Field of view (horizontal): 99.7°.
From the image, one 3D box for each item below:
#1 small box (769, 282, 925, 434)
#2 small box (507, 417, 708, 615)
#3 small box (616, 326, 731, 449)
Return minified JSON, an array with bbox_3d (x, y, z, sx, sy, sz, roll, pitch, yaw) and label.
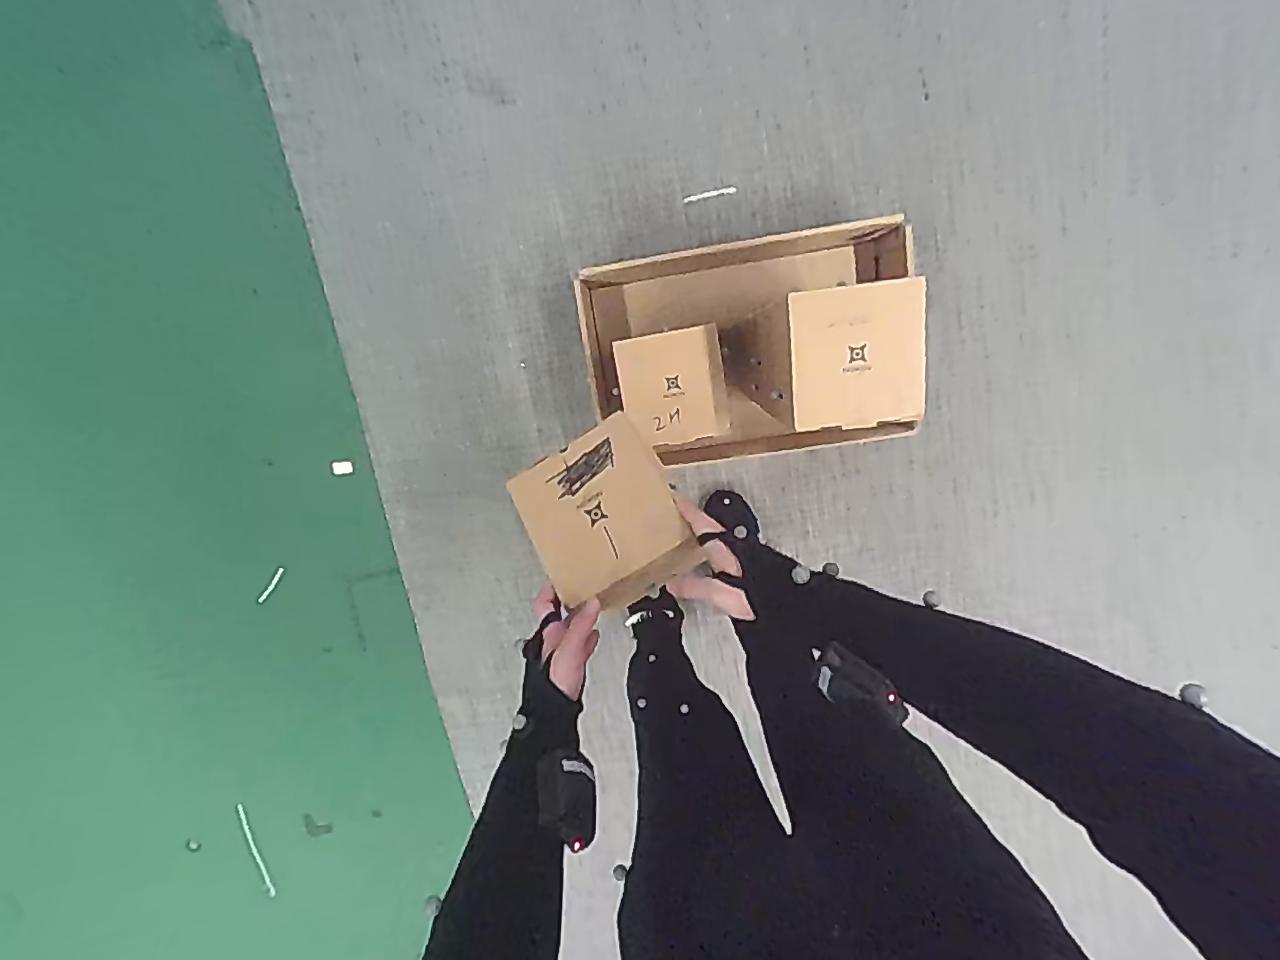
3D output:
[{"bbox_3d":[0.277,-0.167,0.754,0.168,0.176,0.179,-5,102,5],"label":"small box"},{"bbox_3d":[-0.033,0.057,0.682,0.168,0.176,0.179,-32,70,6],"label":"small box"},{"bbox_3d":[0.055,-0.156,0.930,0.168,0.176,0.179,-9,101,4],"label":"small box"}]
